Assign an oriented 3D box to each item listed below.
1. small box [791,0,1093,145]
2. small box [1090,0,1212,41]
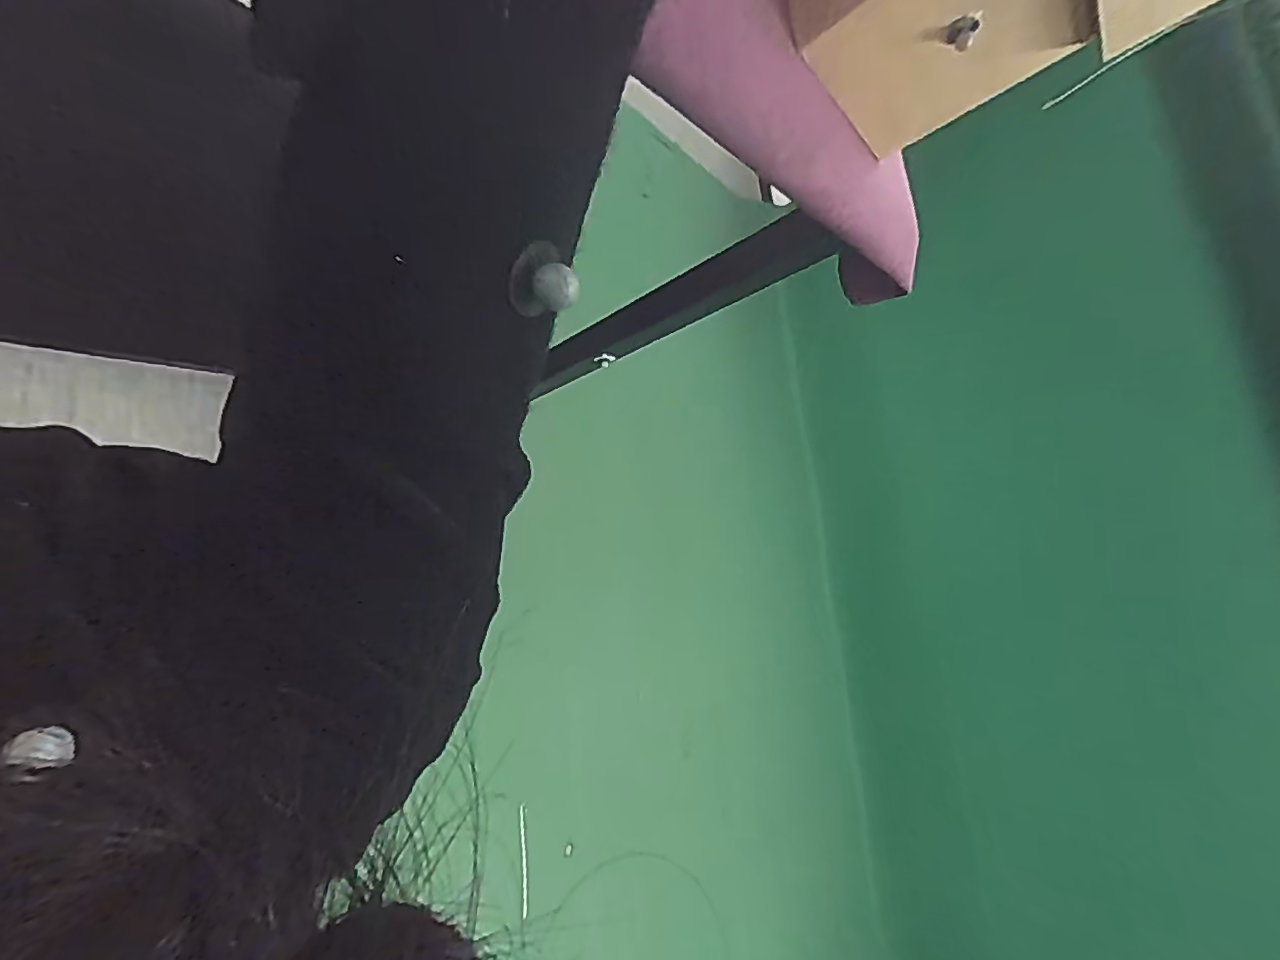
[{"bbox_3d":[0.228,-0.409,0.425,0.179,0.176,0.168,3,77,-47],"label":"small box"},{"bbox_3d":[0.353,-0.418,0.316,0.179,0.176,0.168,3,77,-48],"label":"small box"}]
